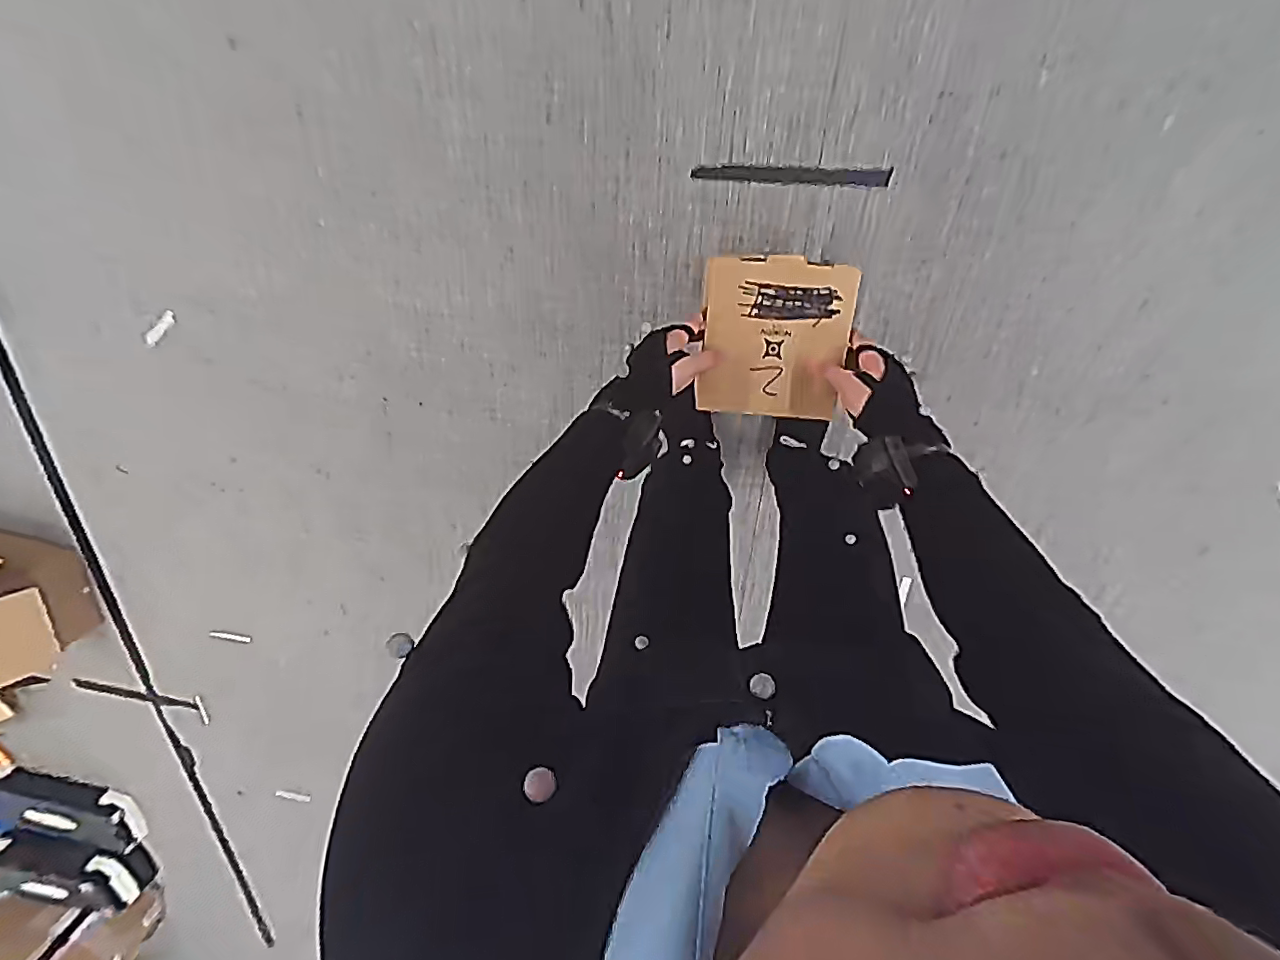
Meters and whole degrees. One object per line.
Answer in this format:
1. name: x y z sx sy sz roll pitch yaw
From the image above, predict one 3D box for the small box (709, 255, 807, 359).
1. small box: 0.218 -0.337 1.038 0.168 0.176 0.179 2 115 9
